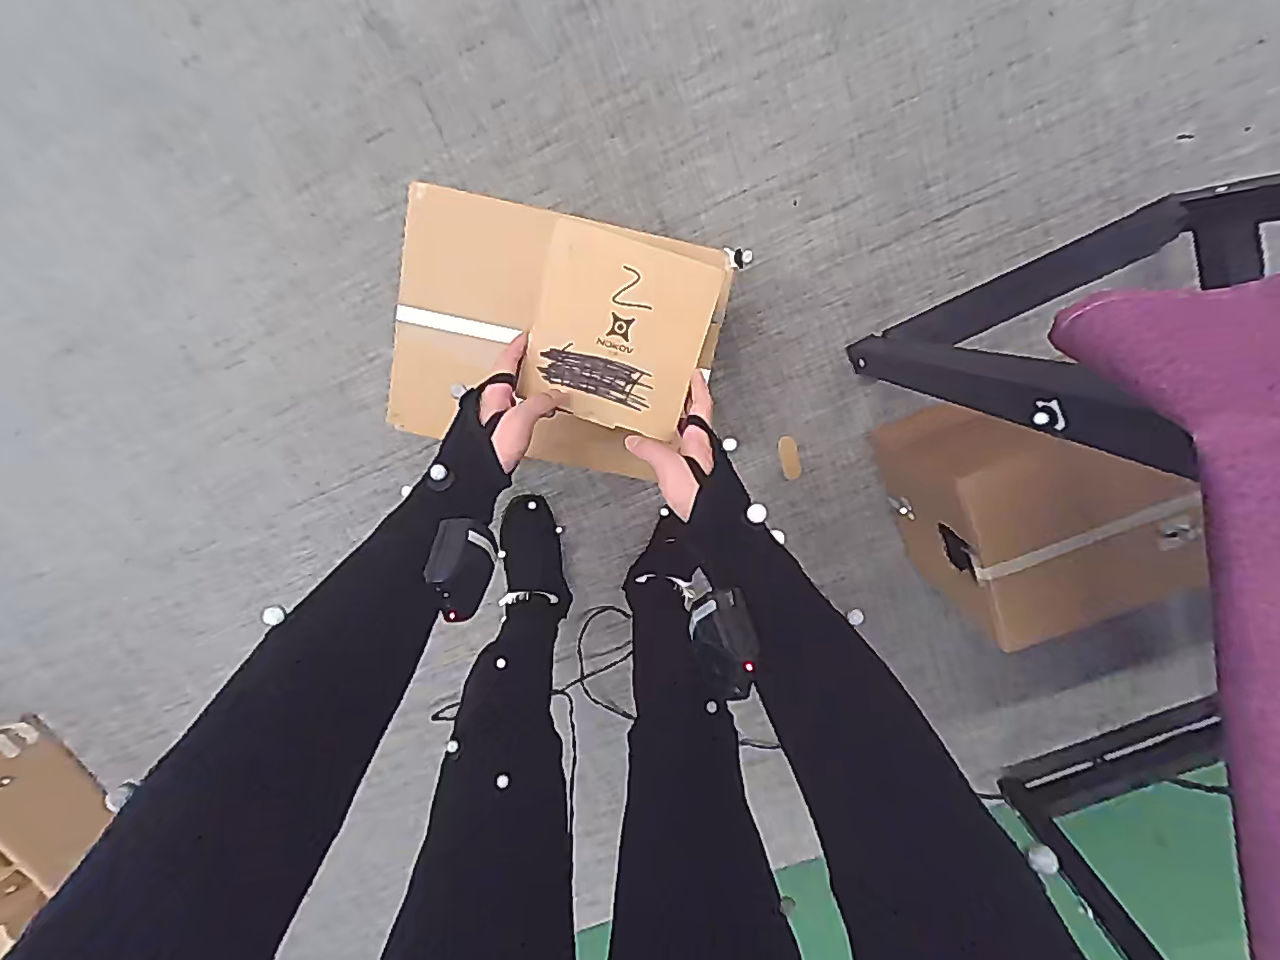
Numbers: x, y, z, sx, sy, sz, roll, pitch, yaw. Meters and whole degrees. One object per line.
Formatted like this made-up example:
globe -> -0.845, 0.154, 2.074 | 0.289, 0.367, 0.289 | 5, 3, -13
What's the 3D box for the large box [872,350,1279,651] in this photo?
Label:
large box -> 0.678, 0.010, 0.902 | 0.408, 0.320, 0.320 | -23, 105, 6
